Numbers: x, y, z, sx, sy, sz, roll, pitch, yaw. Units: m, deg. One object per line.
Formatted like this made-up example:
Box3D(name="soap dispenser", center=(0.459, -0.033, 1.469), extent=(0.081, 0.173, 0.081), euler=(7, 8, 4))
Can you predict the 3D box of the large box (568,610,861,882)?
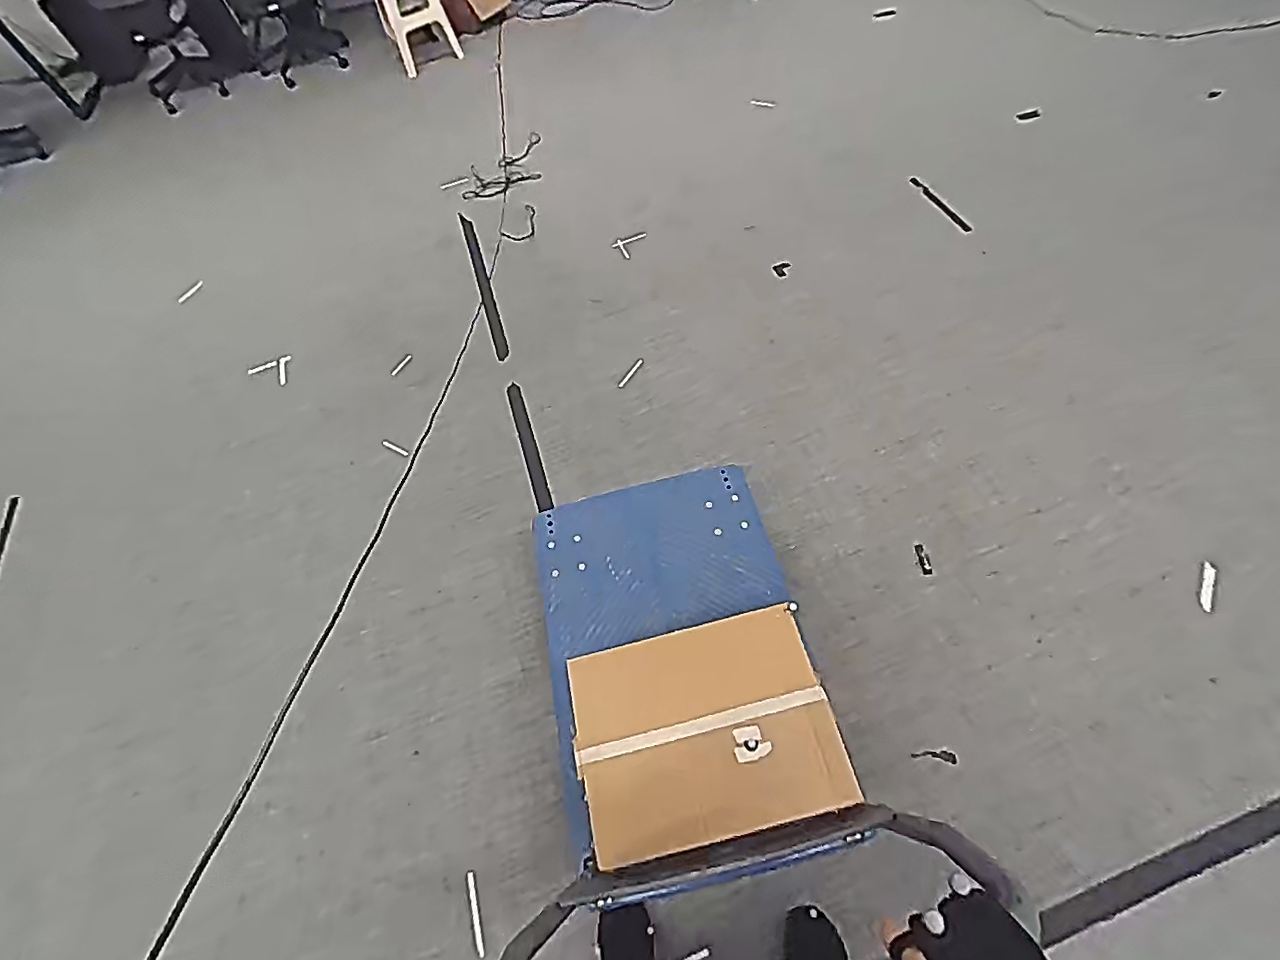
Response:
Box3D(name="large box", center=(0.116, 0.481, 0.986), extent=(0.408, 0.320, 0.320), euler=(-15, 58, -2))
